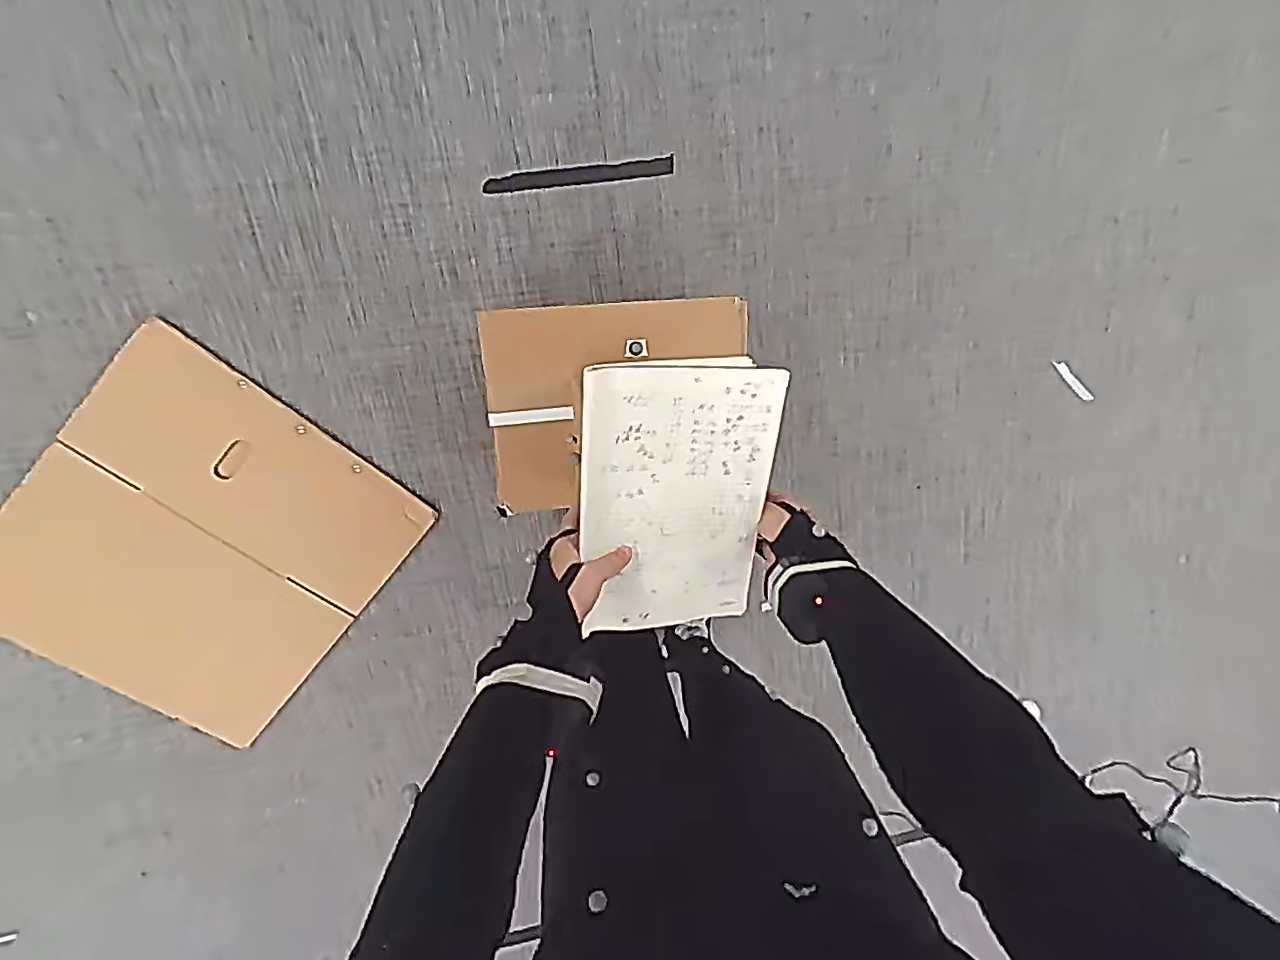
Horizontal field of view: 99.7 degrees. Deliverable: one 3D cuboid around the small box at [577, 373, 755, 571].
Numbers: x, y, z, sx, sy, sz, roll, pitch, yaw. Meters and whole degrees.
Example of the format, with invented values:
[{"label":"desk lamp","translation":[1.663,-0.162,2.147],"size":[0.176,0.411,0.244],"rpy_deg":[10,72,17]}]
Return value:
[{"label":"small box","translation":[0.021,-0.020,0.608],"size":[0.168,0.176,0.179],"rpy_deg":[-6,107,-9]}]
